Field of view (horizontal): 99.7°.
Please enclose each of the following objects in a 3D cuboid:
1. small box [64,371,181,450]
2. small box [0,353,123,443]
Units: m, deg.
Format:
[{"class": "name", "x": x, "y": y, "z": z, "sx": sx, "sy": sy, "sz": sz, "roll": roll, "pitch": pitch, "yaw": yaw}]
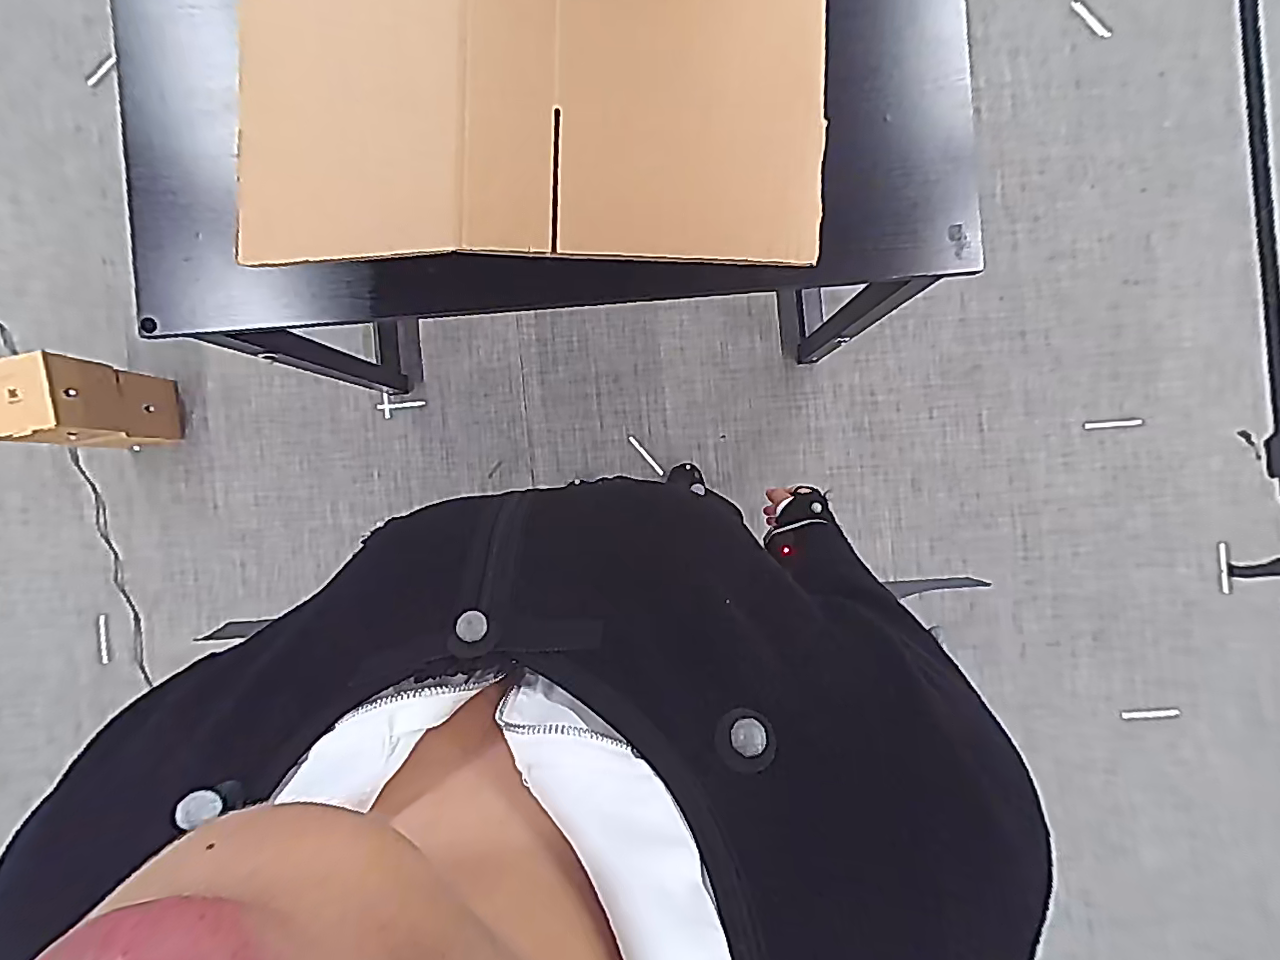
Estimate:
[{"class": "small box", "x": -1.380, "y": -0.180, "z": 1.442, "sx": 0.168, "sy": 0.176, "sz": 0.179, "roll": -8, "pitch": 91, "yaw": 1}, {"class": "small box", "x": -1.384, "y": -0.185, "z": 1.279, "sx": 0.168, "sy": 0.176, "sz": 0.179, "roll": -11, "pitch": 90, "yaw": 0}]
